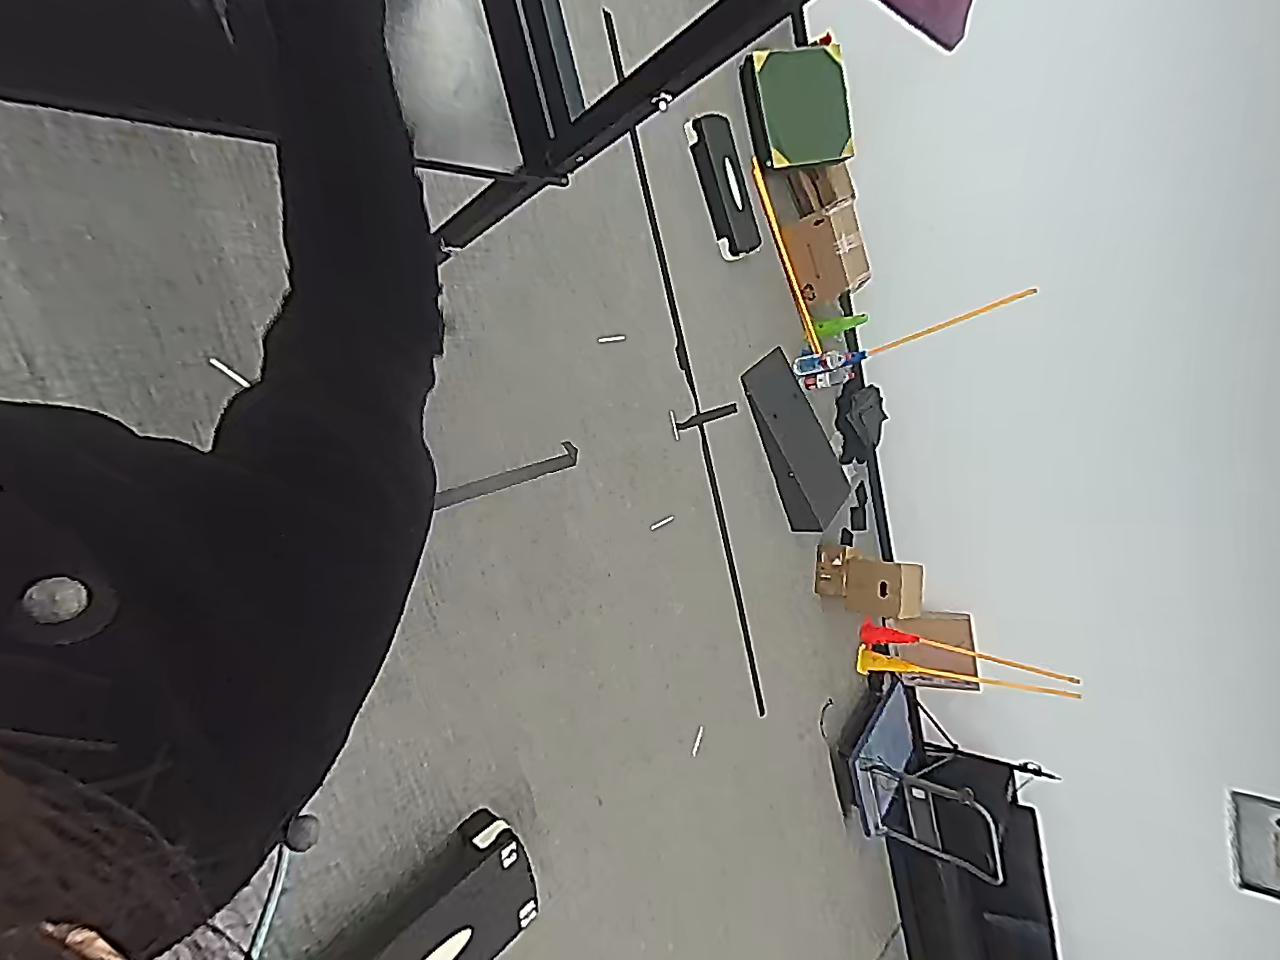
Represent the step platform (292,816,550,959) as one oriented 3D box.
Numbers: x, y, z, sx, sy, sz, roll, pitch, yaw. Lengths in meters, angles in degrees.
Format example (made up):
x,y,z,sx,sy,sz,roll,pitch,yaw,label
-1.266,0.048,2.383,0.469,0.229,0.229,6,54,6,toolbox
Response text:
x,y,z,sx,sy,sz,roll,pitch,yaw,label
-0.555,1.216,1.403,0.684,0.204,0.286,-14,97,-47,step platform
